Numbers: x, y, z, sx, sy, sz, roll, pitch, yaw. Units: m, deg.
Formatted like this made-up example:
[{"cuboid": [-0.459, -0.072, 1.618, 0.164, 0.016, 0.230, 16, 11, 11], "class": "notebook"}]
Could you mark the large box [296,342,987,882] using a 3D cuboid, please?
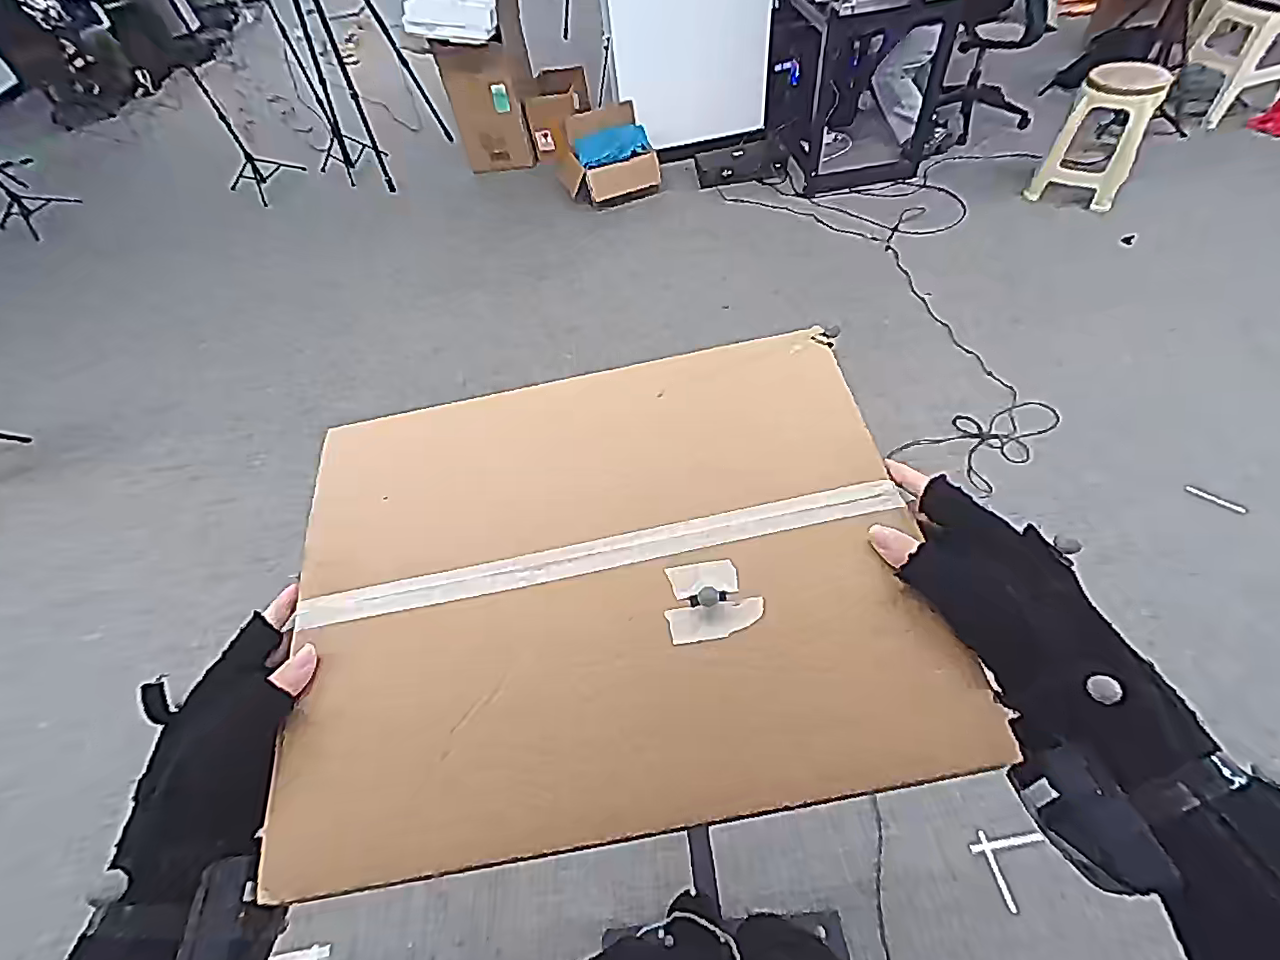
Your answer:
[{"cuboid": [-0.010, 0.127, 0.501, 0.408, 0.320, 0.320, -11, 61, 1], "class": "large box"}]

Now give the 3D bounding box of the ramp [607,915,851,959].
[{"cuboid": [0.191, 1.257, 0.753, 0.509, 0.206, 0.991, -9, 52, 3], "class": "ramp"}]
